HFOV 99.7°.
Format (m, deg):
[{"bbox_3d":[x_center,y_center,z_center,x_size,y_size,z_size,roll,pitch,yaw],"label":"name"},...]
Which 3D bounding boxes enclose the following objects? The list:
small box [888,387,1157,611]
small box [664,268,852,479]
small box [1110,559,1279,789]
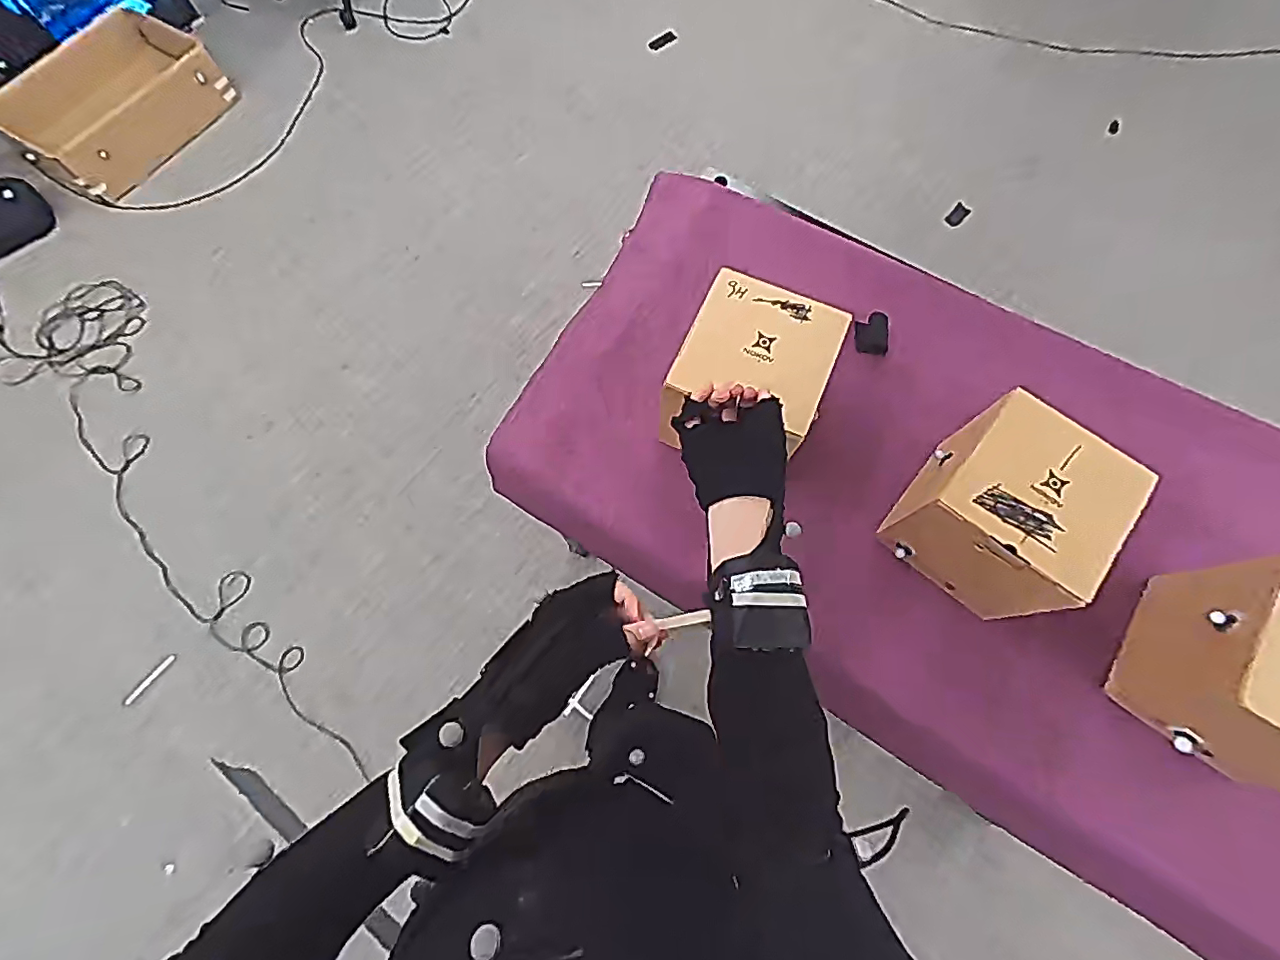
[{"bbox_3d":[0.424,0.033,0.635,0.168,0.176,0.179,39,74,12],"label":"small box"},{"bbox_3d":[0.139,-0.124,0.690,0.168,0.176,0.179,24,73,8],"label":"small box"},{"bbox_3d":[0.664,0.207,0.575,0.168,0.176,0.179,34,75,13],"label":"small box"}]
